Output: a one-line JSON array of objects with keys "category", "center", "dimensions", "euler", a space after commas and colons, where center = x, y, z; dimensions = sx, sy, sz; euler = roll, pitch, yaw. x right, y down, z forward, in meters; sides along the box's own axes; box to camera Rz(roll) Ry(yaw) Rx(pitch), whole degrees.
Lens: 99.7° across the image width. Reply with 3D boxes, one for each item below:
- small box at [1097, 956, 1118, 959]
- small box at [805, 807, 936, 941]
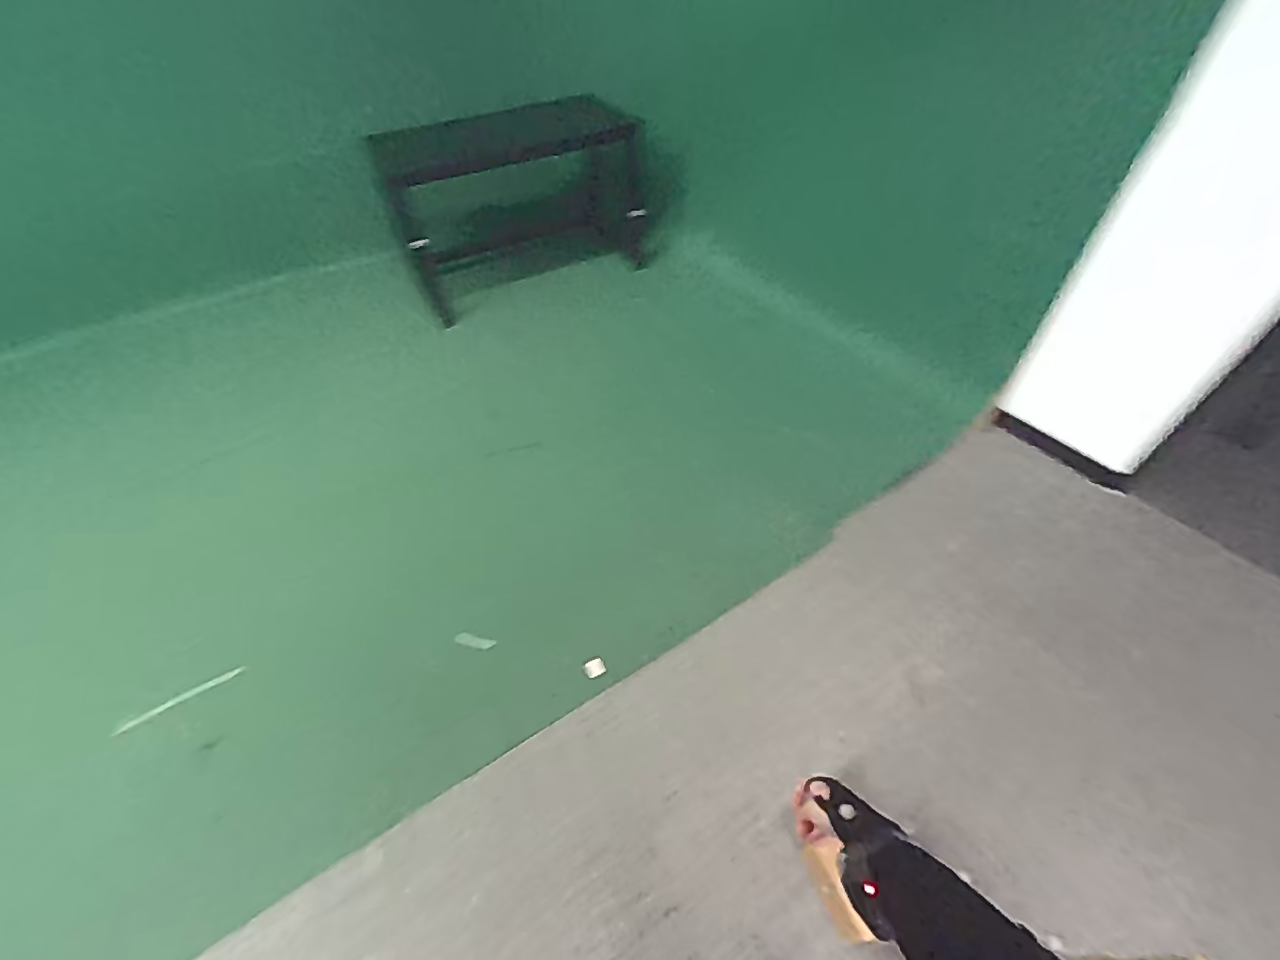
[{"category": "small box", "center": [0.635, 0.793, 0.723], "dimensions": [0.168, 0.176, 0.179], "euler": [-28, 53, -21]}, {"category": "small box", "center": [0.474, 0.831, 1.141], "dimensions": [0.168, 0.176, 0.179], "euler": [-18, 49, -12]}]
